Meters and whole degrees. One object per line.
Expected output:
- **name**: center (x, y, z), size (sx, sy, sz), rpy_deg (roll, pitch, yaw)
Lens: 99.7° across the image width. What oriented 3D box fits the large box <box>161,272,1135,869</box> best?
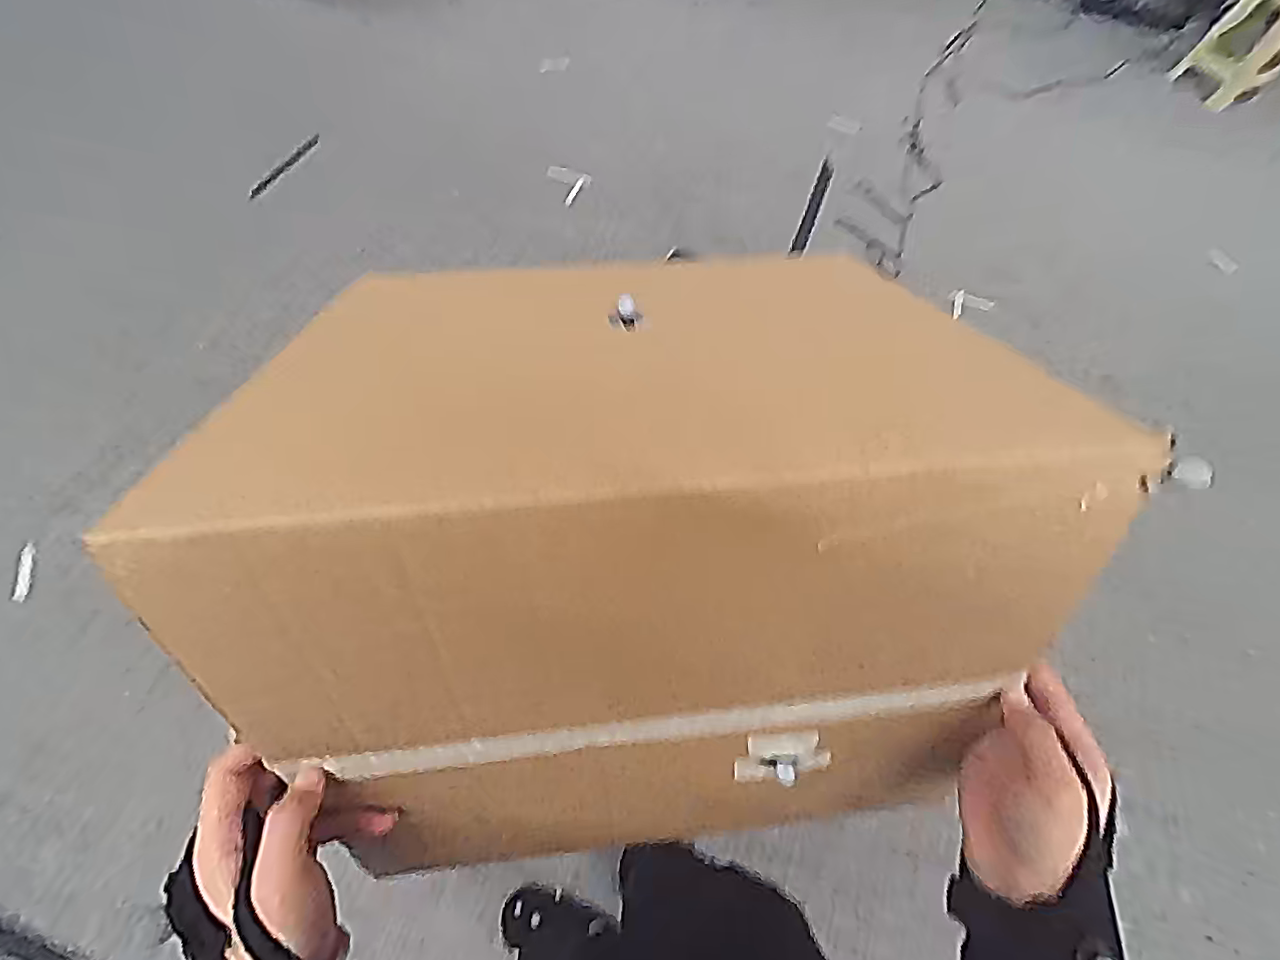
- **large box**: center (0.001, 0.044, 0.421), size (0.408, 0.320, 0.320), rpy_deg (-5, 37, -4)
